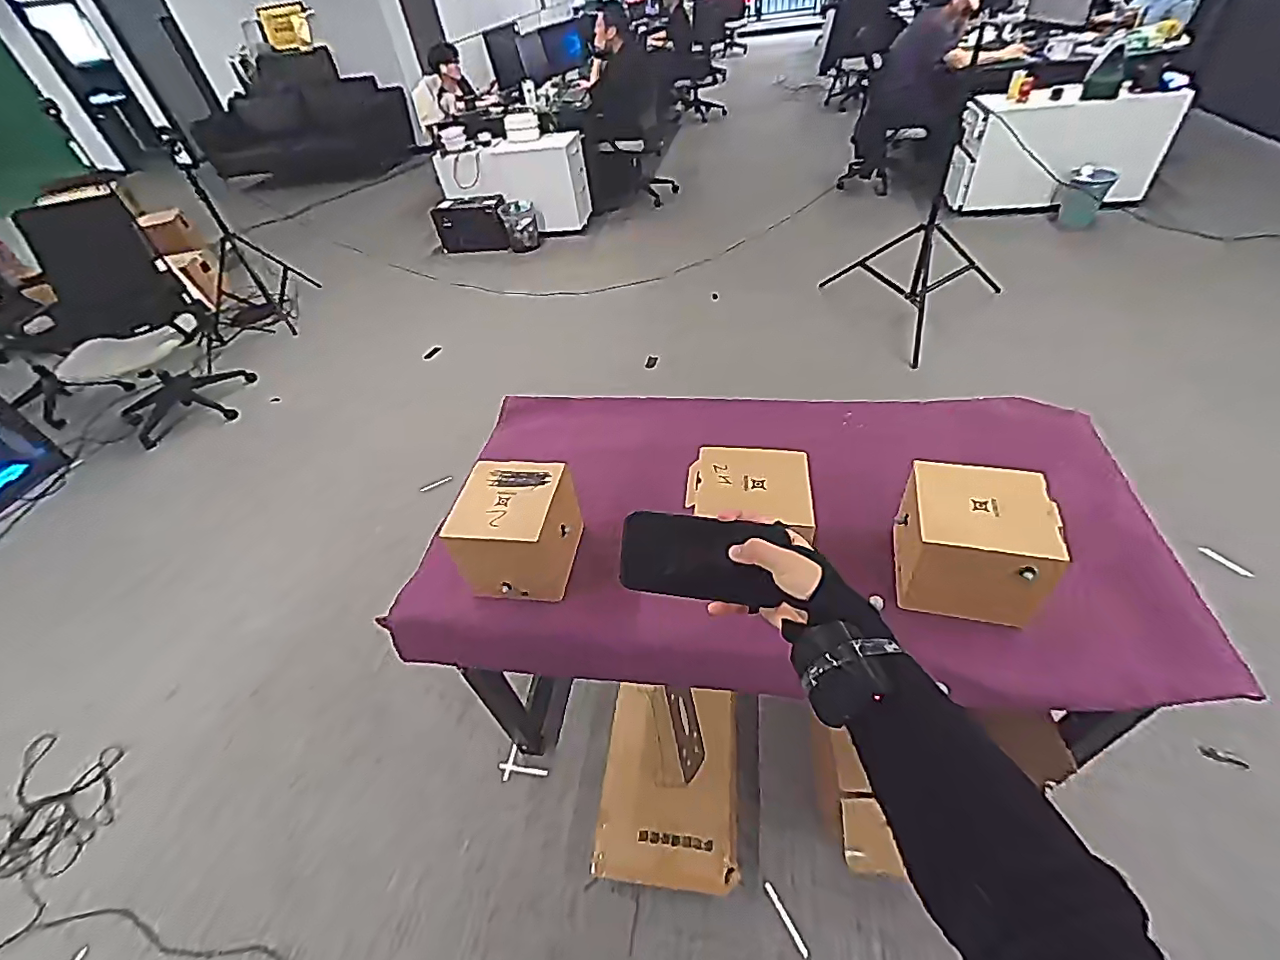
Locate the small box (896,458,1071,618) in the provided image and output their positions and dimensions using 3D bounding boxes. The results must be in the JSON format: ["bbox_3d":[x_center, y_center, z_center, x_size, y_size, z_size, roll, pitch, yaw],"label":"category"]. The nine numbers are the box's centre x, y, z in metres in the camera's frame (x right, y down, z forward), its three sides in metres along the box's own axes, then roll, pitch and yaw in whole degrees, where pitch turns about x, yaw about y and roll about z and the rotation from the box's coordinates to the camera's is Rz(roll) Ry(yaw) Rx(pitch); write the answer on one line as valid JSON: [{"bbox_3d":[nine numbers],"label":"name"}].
[{"bbox_3d":[0.493,0.088,0.813,0.179,0.176,0.168,6,46,15],"label":"small box"}]

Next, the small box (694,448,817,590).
[{"bbox_3d":[0.184,0.065,0.886,0.179,0.176,0.168,1,43,10],"label":"small box"}]
